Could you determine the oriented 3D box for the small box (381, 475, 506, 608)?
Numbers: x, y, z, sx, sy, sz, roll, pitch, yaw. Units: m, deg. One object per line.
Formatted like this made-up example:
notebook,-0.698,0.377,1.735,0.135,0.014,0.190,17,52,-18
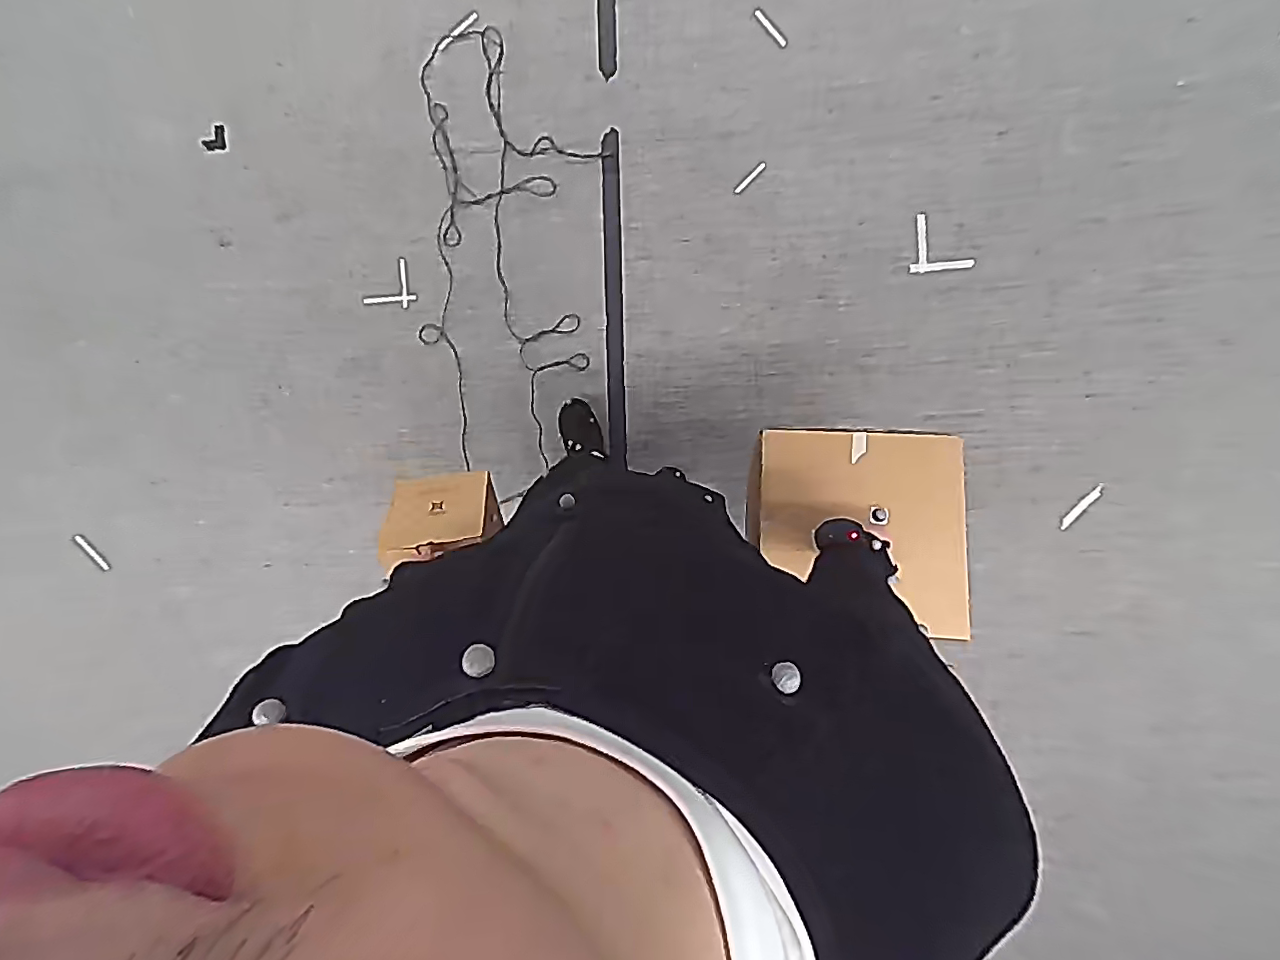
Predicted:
small box,-0.345,0.118,0.989,0.168,0.179,0.176,-8,128,-5
